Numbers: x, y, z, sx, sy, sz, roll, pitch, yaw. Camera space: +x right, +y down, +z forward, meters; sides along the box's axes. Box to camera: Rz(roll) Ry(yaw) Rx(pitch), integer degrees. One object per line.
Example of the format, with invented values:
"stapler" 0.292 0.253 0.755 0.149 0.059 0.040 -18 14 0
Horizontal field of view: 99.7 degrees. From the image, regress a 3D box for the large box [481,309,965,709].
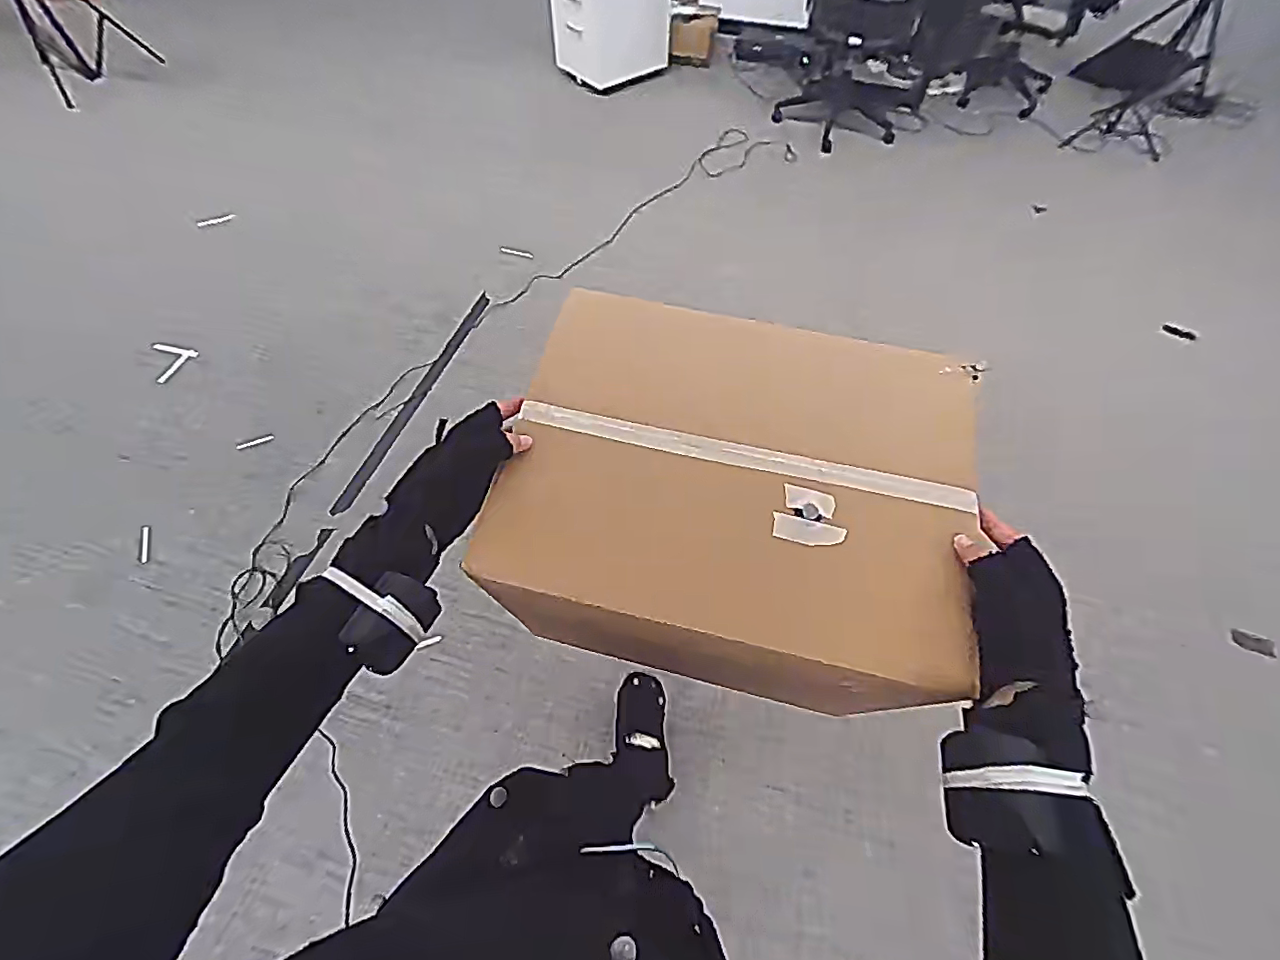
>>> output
"large box" 0.089 0.053 0.629 0.408 0.320 0.320 13 66 6
